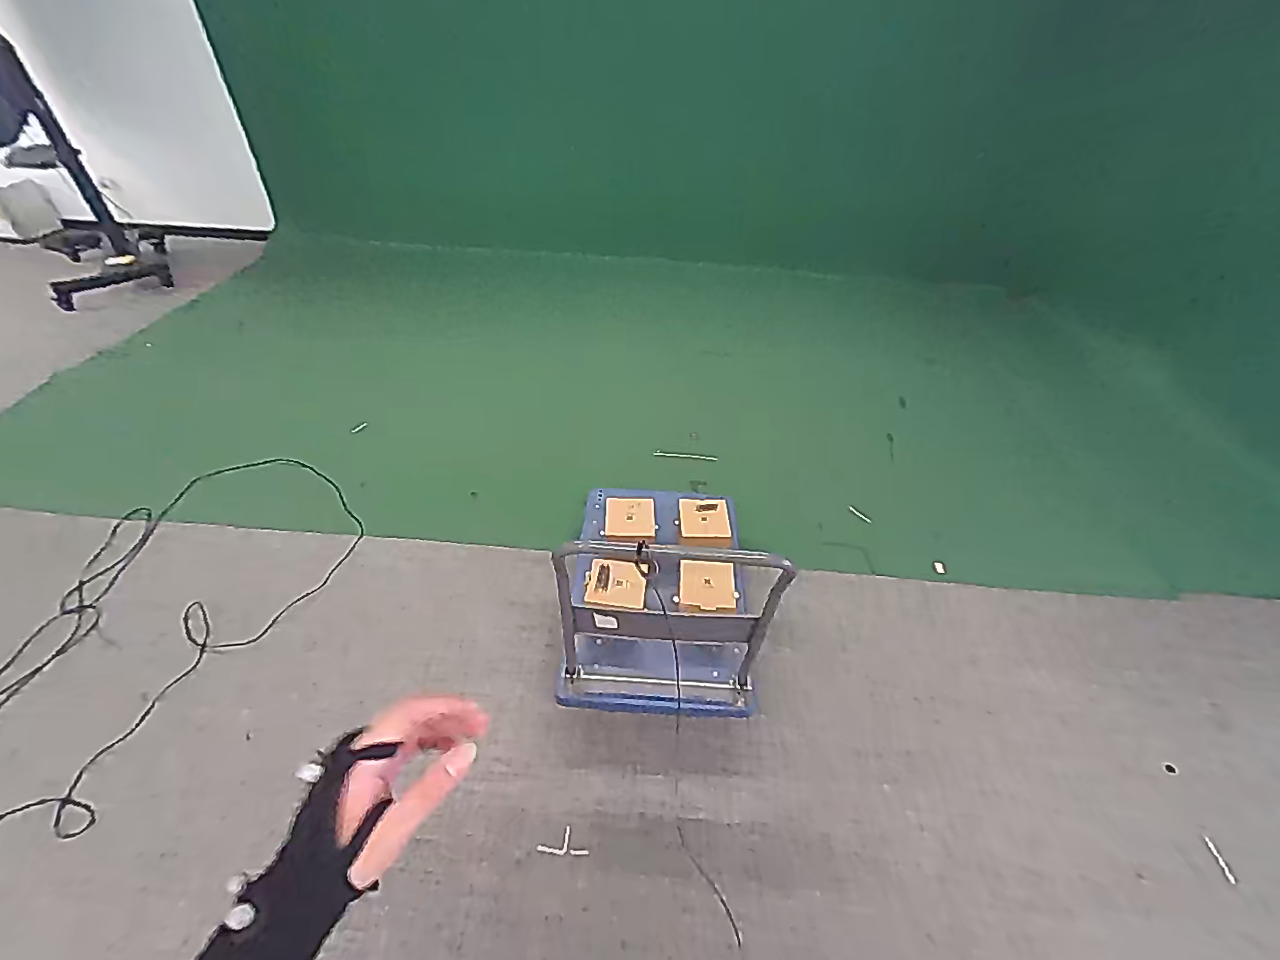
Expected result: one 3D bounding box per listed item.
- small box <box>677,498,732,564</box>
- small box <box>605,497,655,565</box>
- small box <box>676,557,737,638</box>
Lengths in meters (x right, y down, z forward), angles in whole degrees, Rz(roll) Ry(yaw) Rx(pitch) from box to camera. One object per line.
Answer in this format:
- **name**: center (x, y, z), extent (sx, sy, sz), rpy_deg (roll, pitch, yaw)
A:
- **small box**: center (0.217, 0.181, 1.870), extent (0.168, 0.176, 0.179), rpy_deg (1, 44, -1)
- **small box**: center (-0.034, 0.178, 1.862), extent (0.168, 0.176, 0.179), rpy_deg (2, 42, -2)
- **small box**: center (0.202, 0.364, 1.672), extent (0.168, 0.176, 0.179), rpy_deg (4, 43, 2)
